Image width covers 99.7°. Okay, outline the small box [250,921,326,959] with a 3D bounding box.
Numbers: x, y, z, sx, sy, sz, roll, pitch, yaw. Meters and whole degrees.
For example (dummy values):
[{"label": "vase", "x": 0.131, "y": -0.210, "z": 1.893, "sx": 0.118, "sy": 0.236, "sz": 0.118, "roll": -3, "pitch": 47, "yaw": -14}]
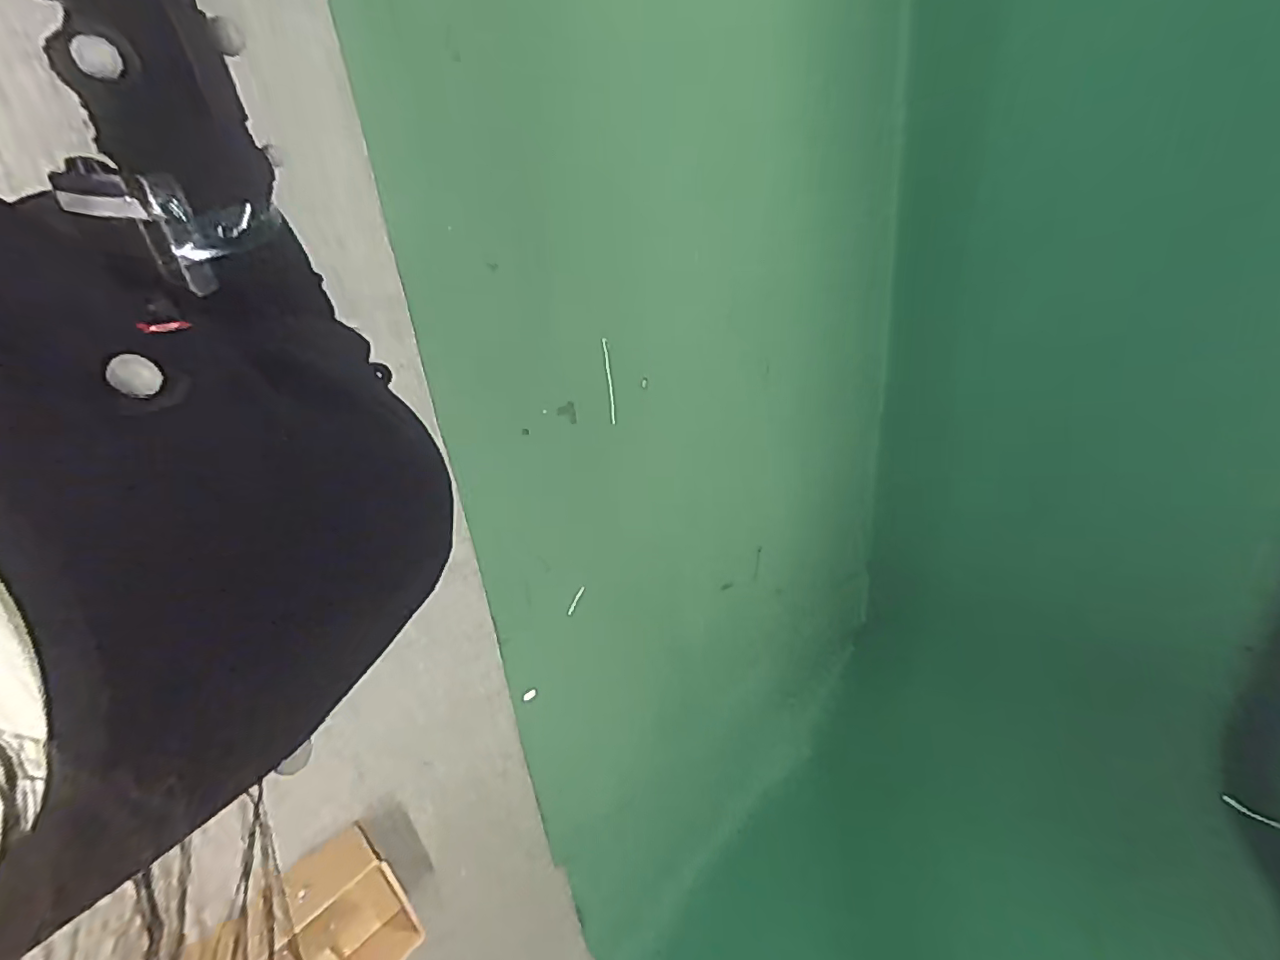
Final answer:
[{"label": "small box", "x": -0.905, "y": 1.294, "z": 1.374, "sx": 0.179, "sy": 0.176, "sz": 0.168, "roll": -34, "pitch": 125, "yaw": -38}]
